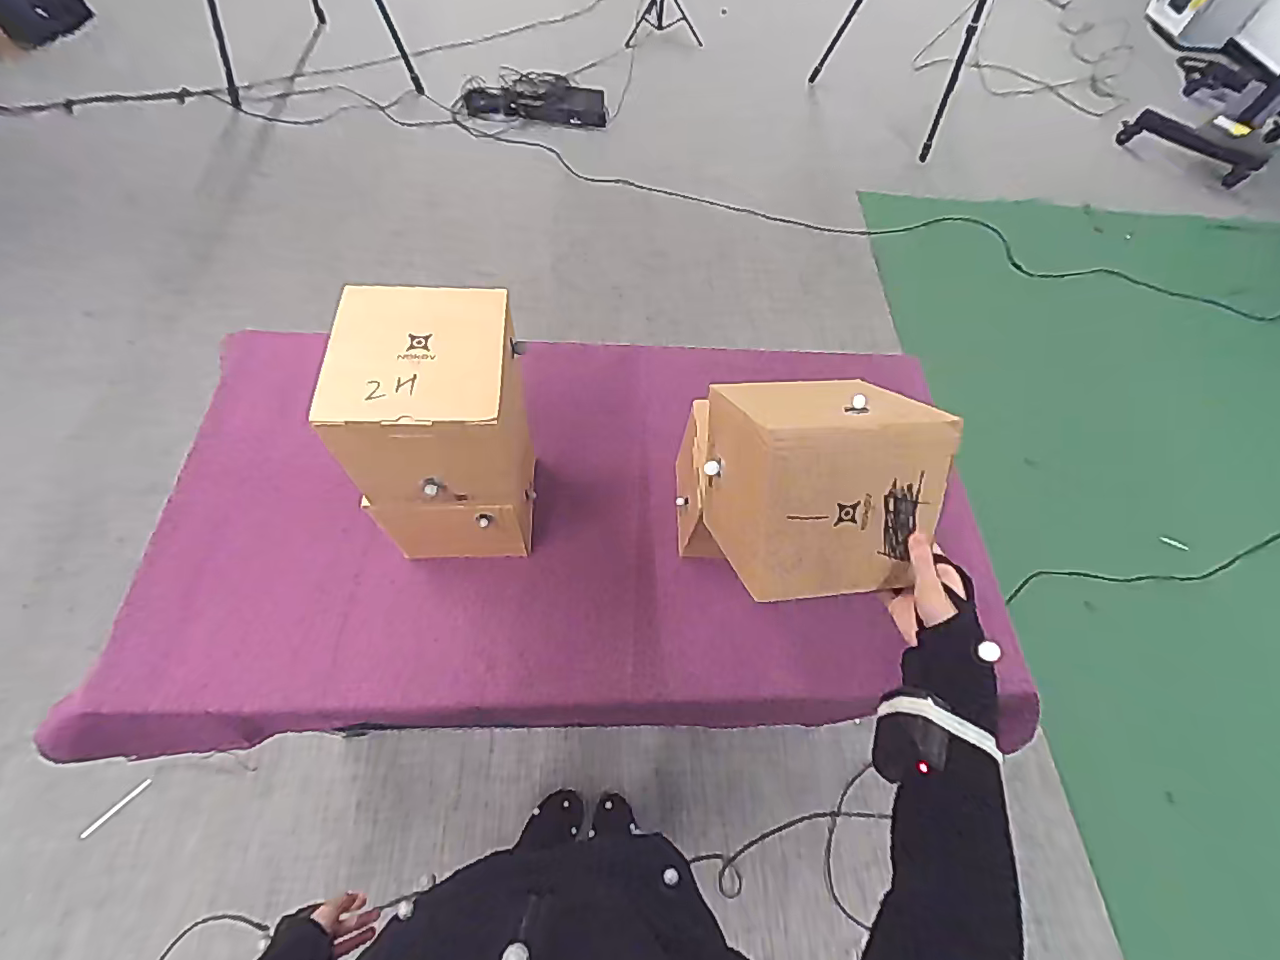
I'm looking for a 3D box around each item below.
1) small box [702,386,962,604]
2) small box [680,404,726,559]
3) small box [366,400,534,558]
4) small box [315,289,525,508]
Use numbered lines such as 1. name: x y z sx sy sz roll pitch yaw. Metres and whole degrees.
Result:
1. small box: 0.174 0.003 0.548 0.179 0.168 0.176 -3 23 -9
2. small box: 0.151 0.010 0.770 0.179 0.176 0.168 3 61 -4
3. small box: -0.242 0.001 0.739 0.179 0.176 0.168 0 60 -7
4. small box: -0.221 -0.084 0.599 0.168 0.176 0.179 -1 60 -6
